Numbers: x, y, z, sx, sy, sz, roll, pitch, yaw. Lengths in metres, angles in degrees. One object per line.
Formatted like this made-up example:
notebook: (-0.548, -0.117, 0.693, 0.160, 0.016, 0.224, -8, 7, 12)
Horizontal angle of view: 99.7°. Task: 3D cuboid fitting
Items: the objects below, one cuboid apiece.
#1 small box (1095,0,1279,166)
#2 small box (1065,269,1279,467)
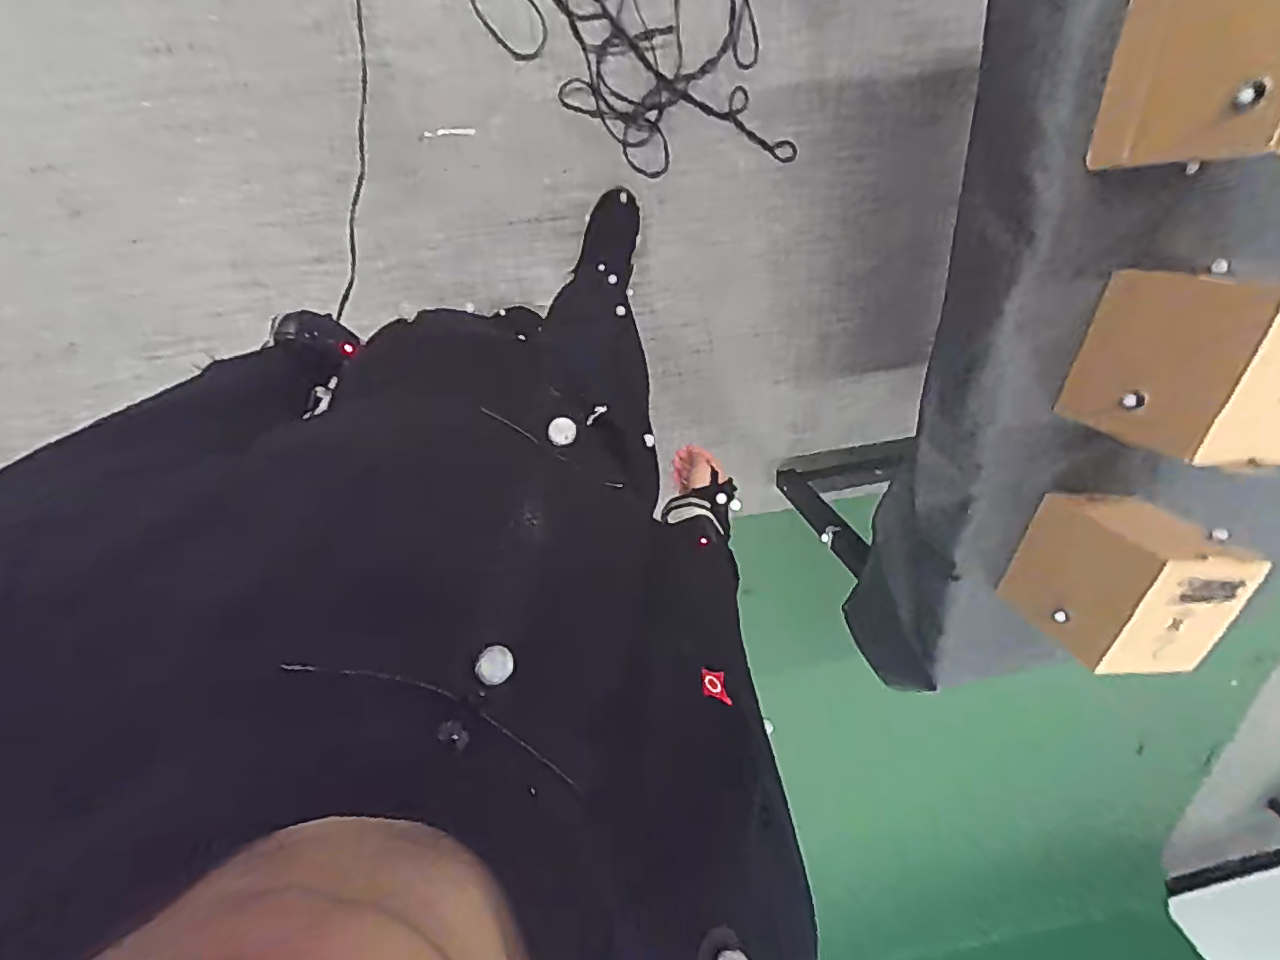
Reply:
small box: (0.543, -0.376, 0.455, 0.168, 0.176, 0.179, -8, 118, -7)
small box: (0.625, -0.127, 0.593, 0.168, 0.176, 0.179, -1, 115, -11)
